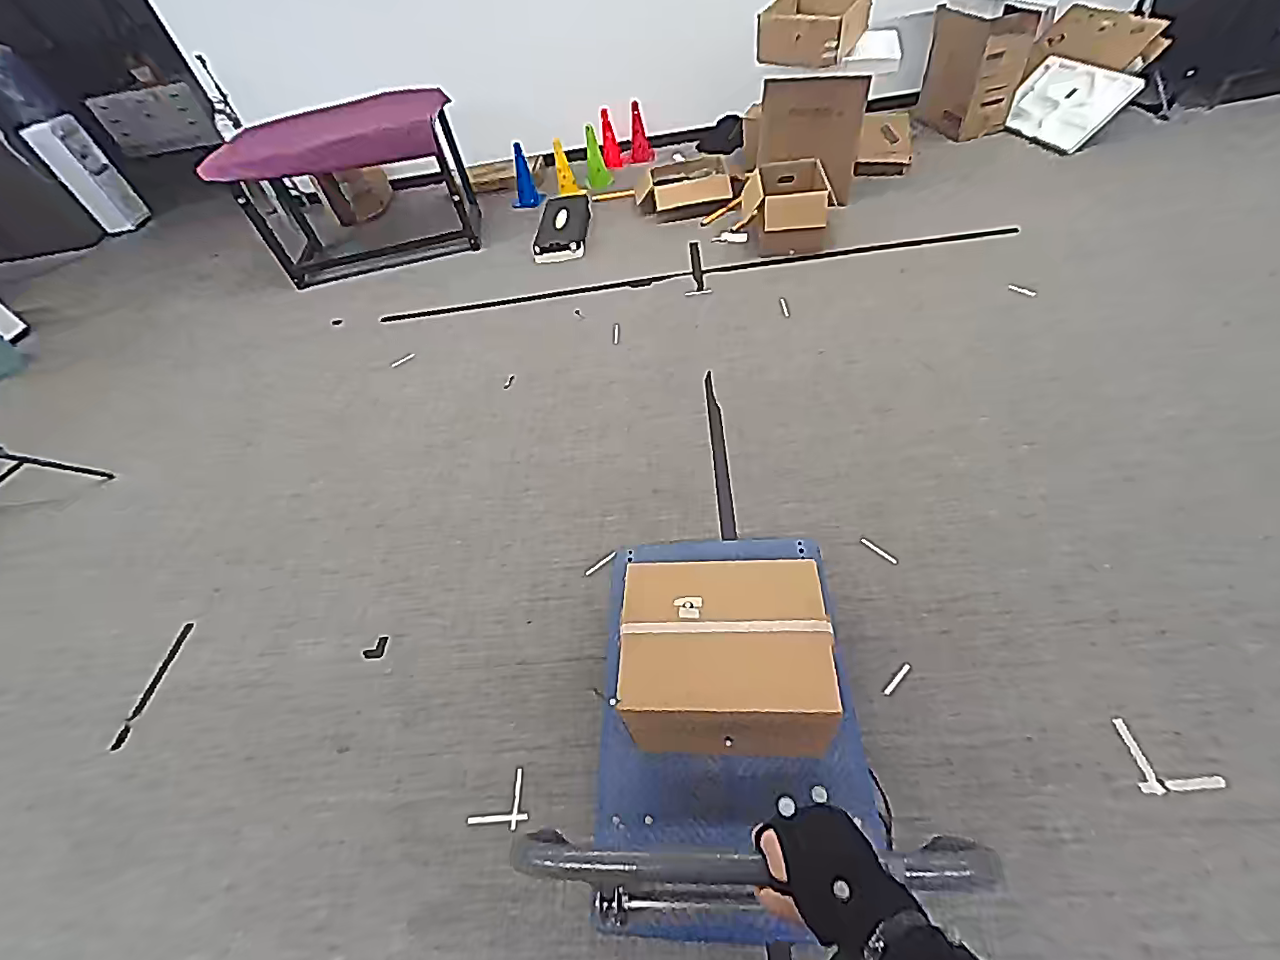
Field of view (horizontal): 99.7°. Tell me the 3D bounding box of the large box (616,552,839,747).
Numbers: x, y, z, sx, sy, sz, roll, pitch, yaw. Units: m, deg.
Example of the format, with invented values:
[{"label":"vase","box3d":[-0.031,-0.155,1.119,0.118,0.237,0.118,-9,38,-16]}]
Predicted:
[{"label":"large box","box3d":[0.182,0.377,1.171,0.408,0.320,0.320,-4,49,9]}]
